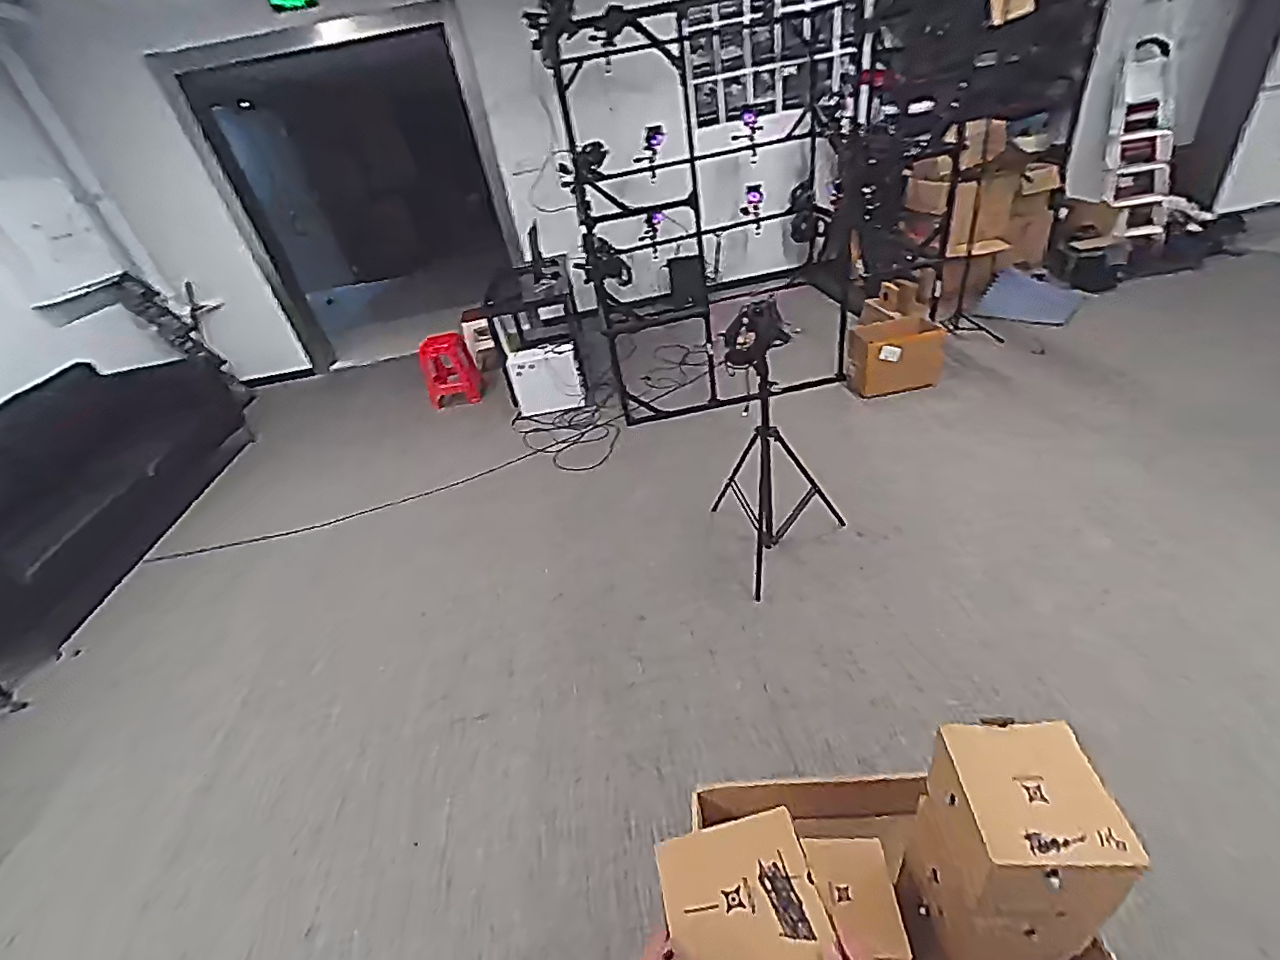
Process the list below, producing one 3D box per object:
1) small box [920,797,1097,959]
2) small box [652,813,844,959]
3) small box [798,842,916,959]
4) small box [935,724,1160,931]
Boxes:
[{"bbox_3d":[0.533,0.586,0.797,0.179,0.176,0.168,-9,34,5],"label":"small box"},{"bbox_3d":[0.125,0.539,0.635,0.179,0.176,0.168,-15,28,-3],"label":"small box"},{"bbox_3d":[0.342,0.745,0.920,0.179,0.176,0.168,-6,34,8],"label":"small box"},{"bbox_3d":[0.506,0.449,0.710,0.168,0.176,0.179,-7,33,11],"label":"small box"}]
